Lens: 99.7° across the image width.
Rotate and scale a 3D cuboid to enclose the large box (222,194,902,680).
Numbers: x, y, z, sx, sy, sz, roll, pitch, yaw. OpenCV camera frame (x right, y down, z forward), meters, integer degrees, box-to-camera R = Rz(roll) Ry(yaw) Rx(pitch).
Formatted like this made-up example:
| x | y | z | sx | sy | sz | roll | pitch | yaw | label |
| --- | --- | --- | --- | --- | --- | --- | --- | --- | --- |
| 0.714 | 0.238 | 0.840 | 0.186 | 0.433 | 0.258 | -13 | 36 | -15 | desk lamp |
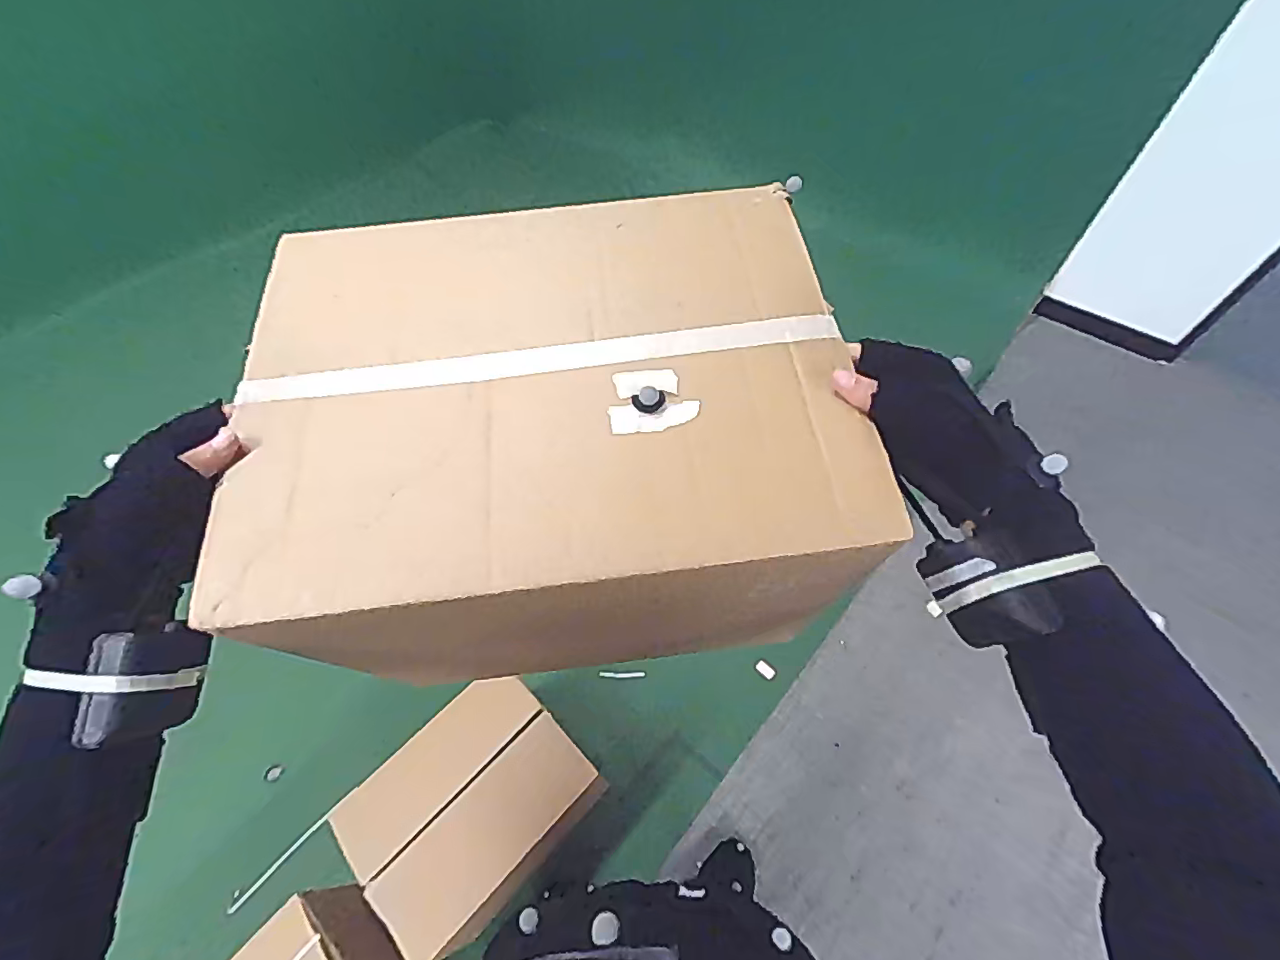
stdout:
| x | y | z | sx | sy | sz | roll | pitch | yaw | label |
| --- | --- | --- | --- | --- | --- | --- | --- | --- | --- |
| -0.057 | -0.016 | 0.509 | 0.408 | 0.320 | 0.320 | -7 | 64 | -3 | large box |
